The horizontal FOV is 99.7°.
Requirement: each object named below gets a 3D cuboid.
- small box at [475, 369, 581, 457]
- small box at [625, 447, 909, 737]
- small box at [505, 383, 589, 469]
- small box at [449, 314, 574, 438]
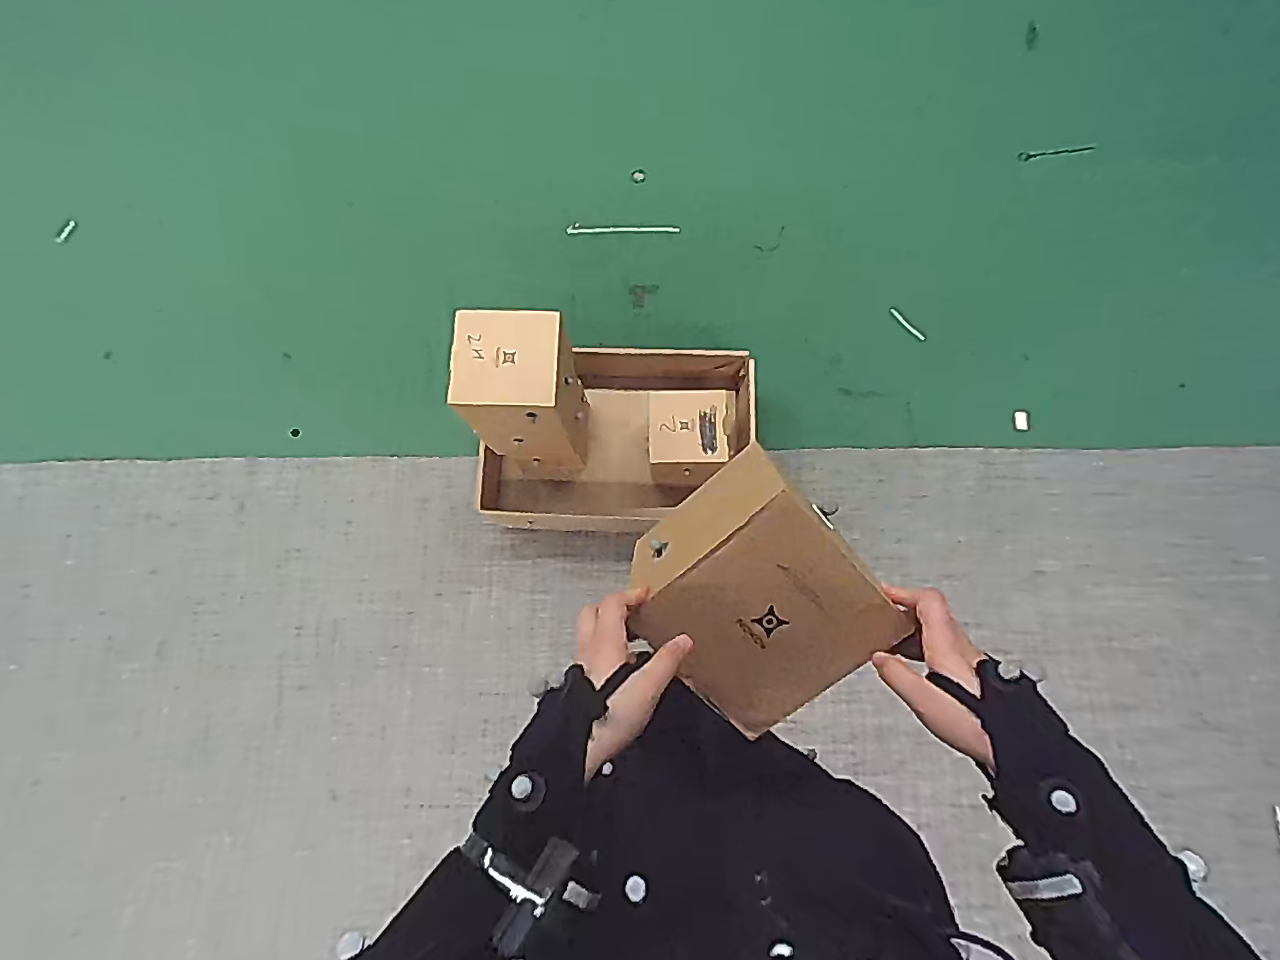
[{"bbox_3d":[-0.221,-0.145,1.109,0.179,0.176,0.168,2,80,0],"label":"small box"},{"bbox_3d":[0.109,0.095,0.521,0.179,0.176,0.168,-42,101,14],"label":"small box"},{"bbox_3d":[-0.213,-0.123,1.272,0.168,0.176,0.179,0,80,1],"label":"small box"},{"bbox_3d":[-0.213,-0.174,0.947,0.179,0.176,0.168,1,79,1],"label":"small box"}]
